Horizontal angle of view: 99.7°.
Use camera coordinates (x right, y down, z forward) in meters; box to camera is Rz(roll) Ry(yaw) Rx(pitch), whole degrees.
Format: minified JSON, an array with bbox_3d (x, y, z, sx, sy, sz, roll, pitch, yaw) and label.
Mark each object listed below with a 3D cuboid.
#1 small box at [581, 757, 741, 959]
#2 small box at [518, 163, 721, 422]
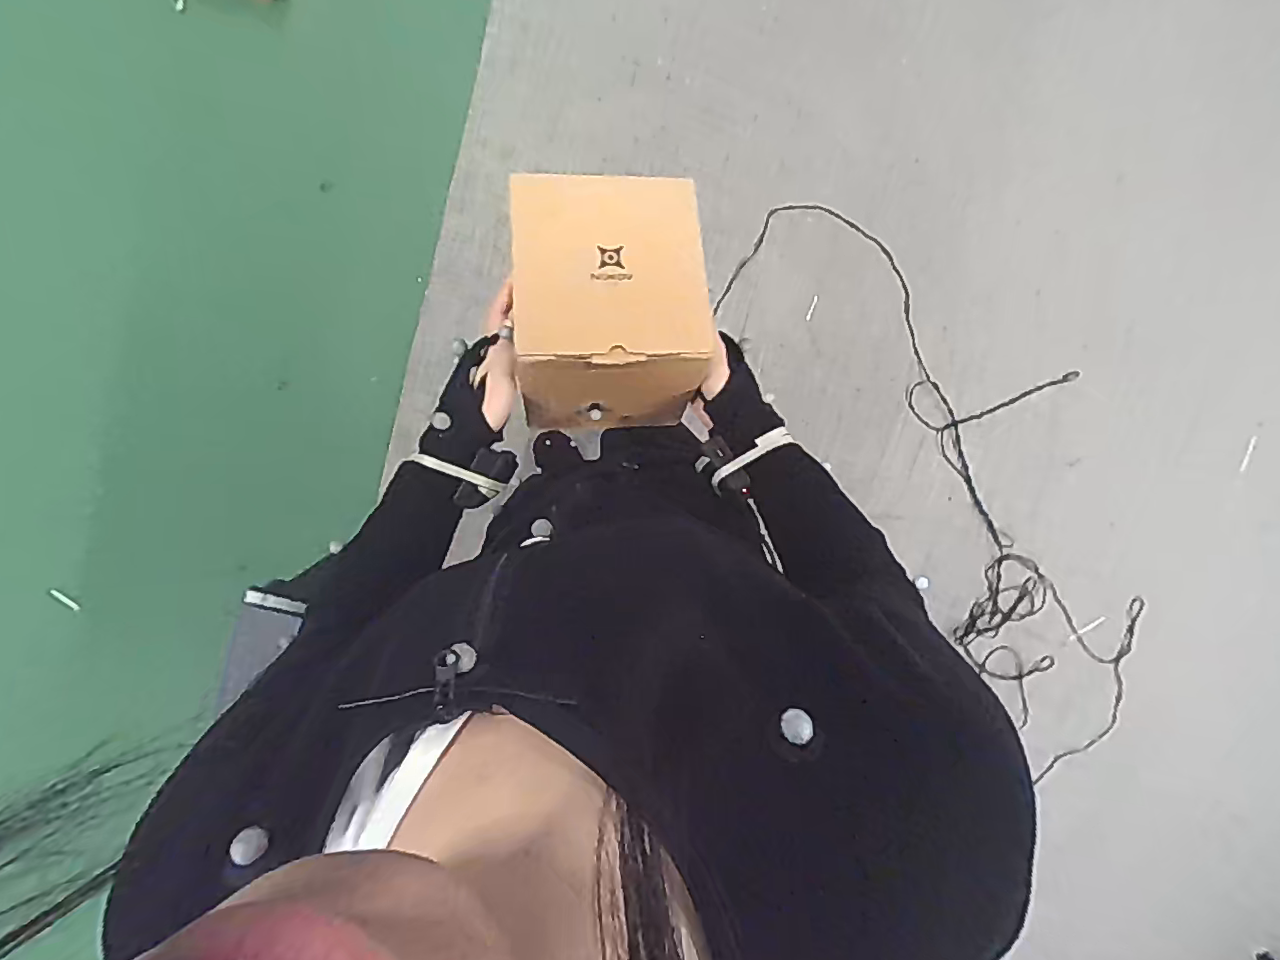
[{"bbox_3d":[0.020,0.537,0.766,0.168,0.176,0.179,16,97,-9],"label":"small box"},{"bbox_3d":[-0.031,-0.166,0.525,0.168,0.176,0.179,-2,77,-9],"label":"small box"}]
